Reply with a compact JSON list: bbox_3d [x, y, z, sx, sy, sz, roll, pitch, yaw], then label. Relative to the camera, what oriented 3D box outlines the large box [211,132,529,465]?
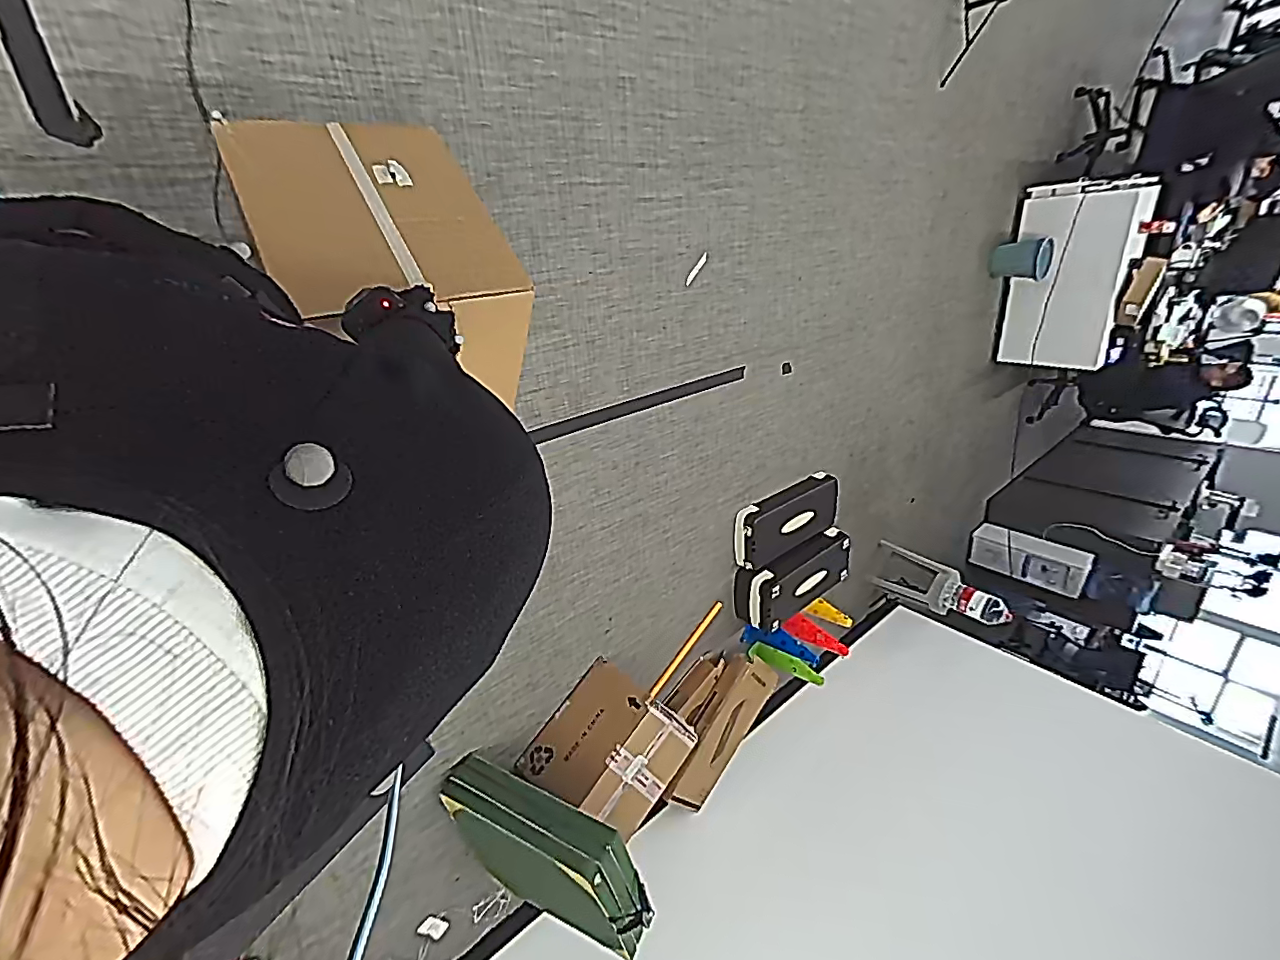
[{"bbox_3d":[-0.426,-0.299,0.894,0.320,0.408,0.320,-20,156,-31],"label":"large box"}]
